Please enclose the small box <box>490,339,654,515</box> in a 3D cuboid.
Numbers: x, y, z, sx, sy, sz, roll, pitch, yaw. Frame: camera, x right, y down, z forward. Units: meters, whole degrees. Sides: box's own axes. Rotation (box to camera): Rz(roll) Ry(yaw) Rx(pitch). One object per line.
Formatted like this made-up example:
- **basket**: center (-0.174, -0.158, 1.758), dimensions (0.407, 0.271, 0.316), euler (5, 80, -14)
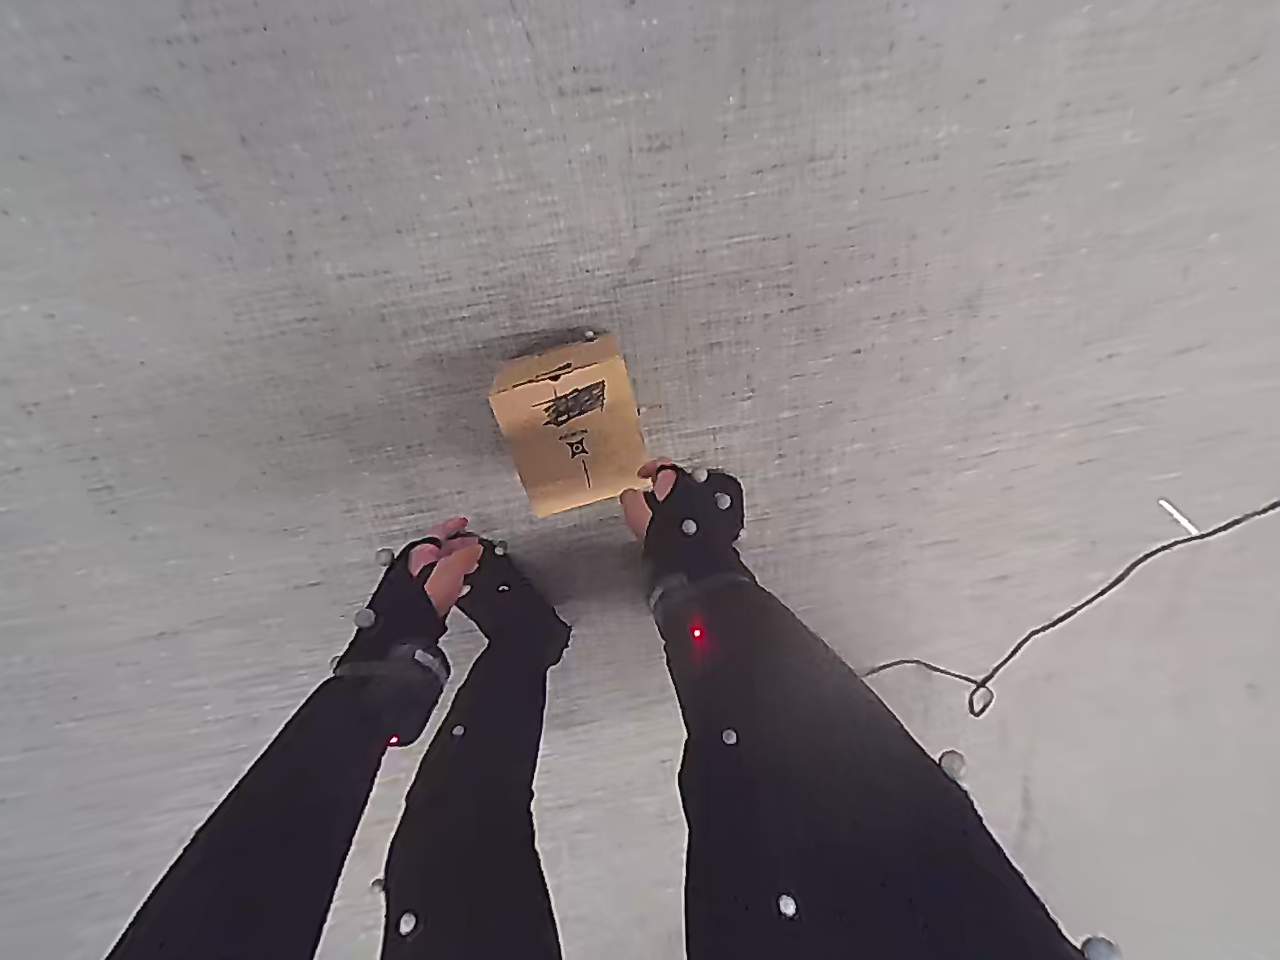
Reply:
- **small box**: center (-0.089, -0.083, 0.735), dimensions (0.168, 0.176, 0.179), euler (-15, 117, 1)
